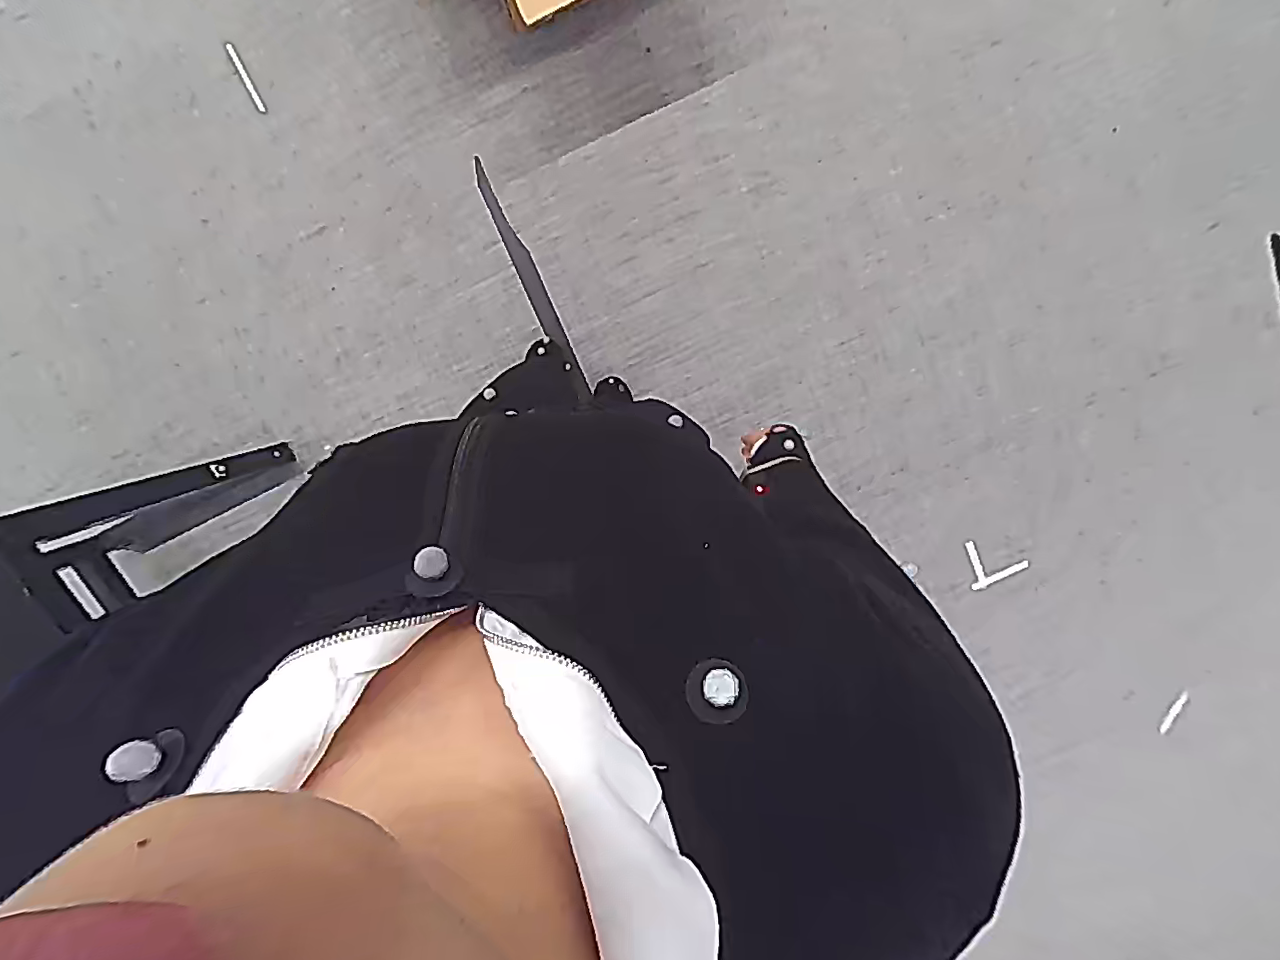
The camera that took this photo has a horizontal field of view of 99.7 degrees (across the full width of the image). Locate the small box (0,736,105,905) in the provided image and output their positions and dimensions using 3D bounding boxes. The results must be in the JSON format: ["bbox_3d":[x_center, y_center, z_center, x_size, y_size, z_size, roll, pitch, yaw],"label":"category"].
[{"bbox_3d":[-0.935,0.491,0.754,0.168,0.176,0.179,-25,102,5],"label":"small box"}]
